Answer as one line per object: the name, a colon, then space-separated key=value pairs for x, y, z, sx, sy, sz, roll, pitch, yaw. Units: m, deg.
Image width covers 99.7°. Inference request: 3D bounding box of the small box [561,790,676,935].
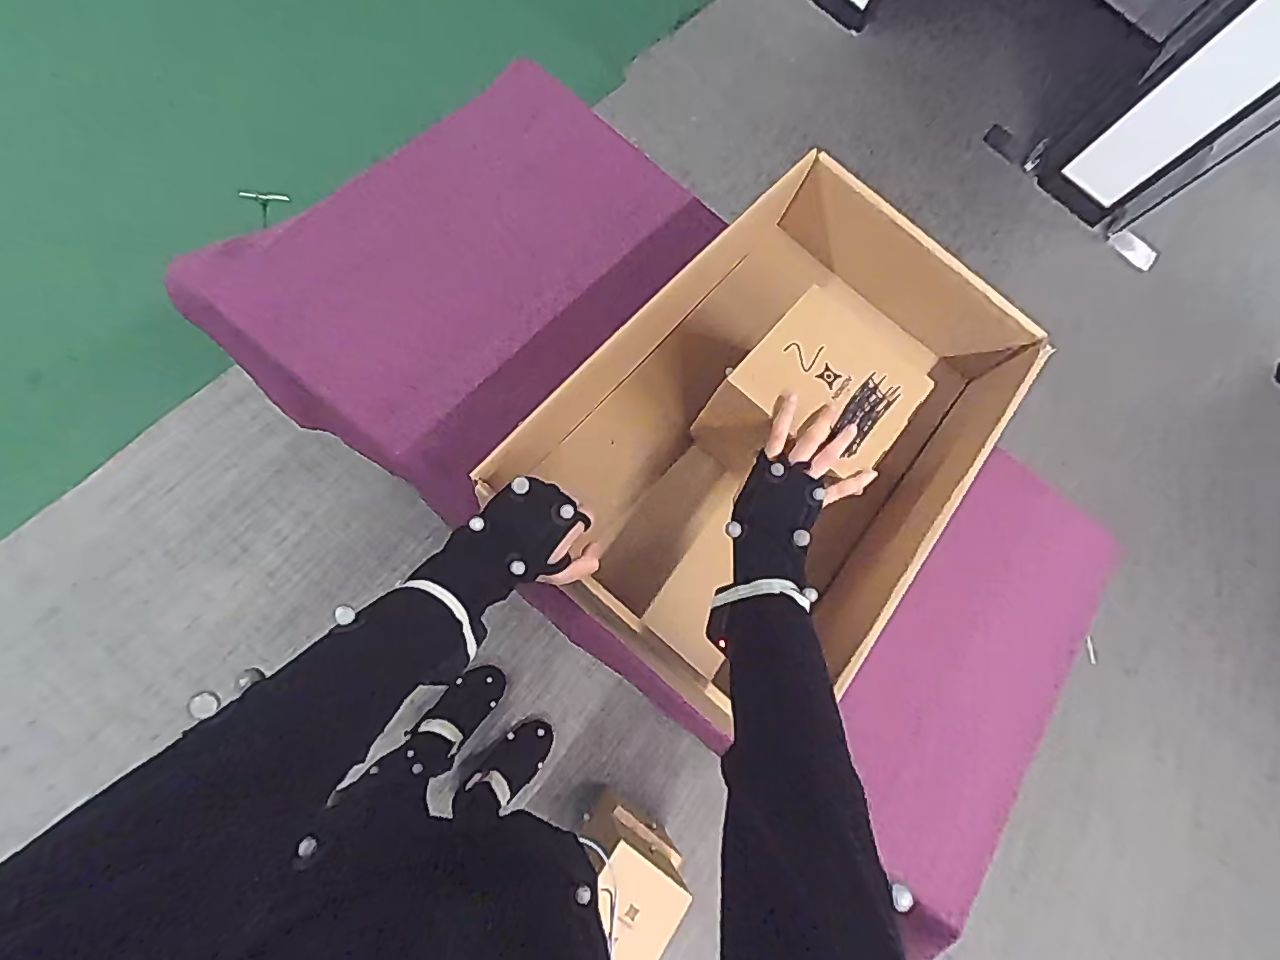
small box: x=-0.053 y=0.811 z=1.171 sx=0.179 sy=0.176 sz=0.168 roll=39 pitch=71 yaw=2
